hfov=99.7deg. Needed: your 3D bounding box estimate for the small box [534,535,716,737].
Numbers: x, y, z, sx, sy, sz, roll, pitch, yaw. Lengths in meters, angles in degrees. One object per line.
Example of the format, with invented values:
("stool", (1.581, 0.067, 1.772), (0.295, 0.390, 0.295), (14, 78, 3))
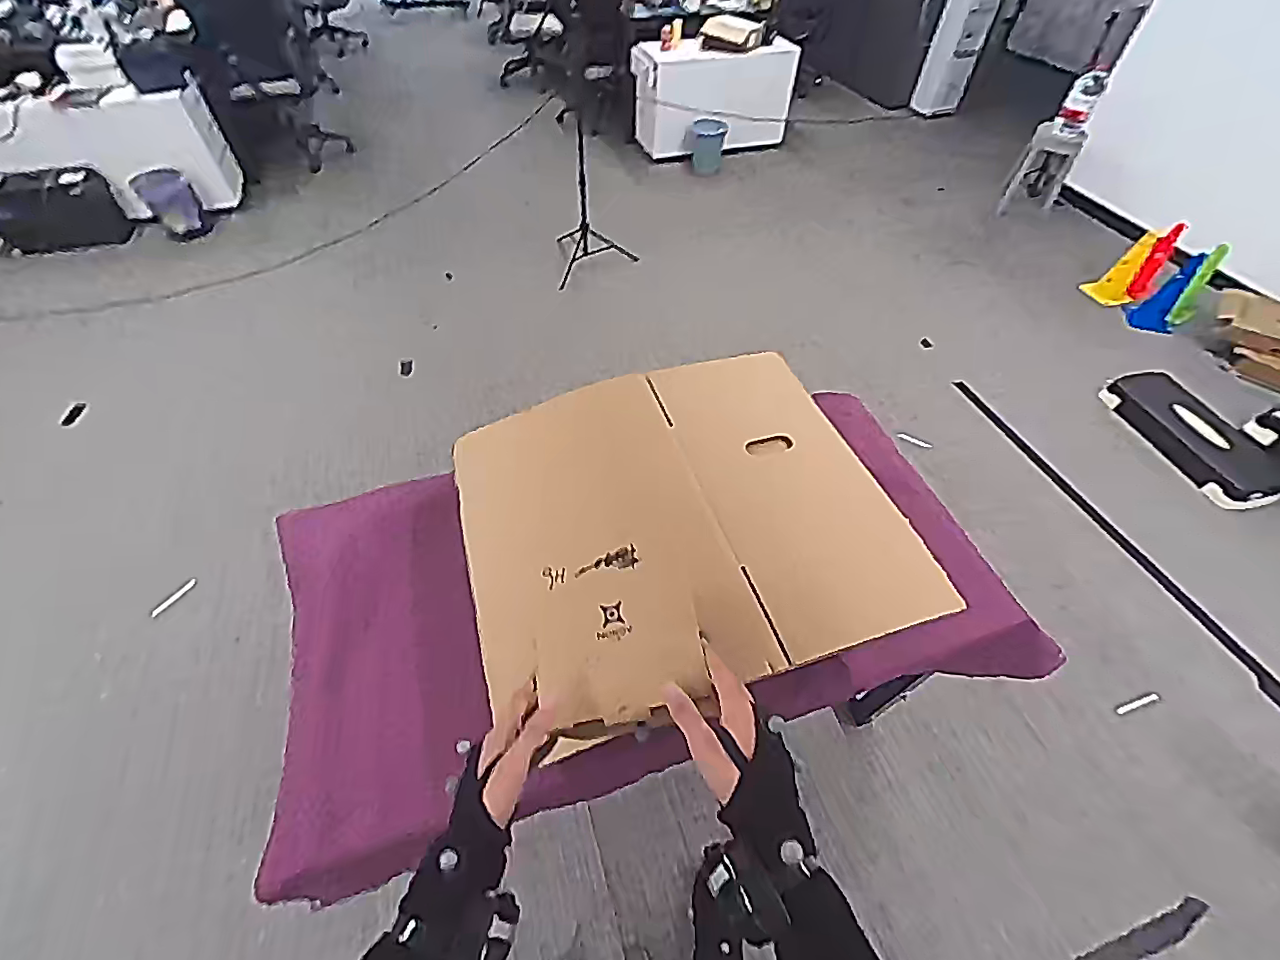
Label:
("small box", (-0.011, 0.185, 0.612), (0.168, 0.176, 0.179), (-12, 61, 3))
